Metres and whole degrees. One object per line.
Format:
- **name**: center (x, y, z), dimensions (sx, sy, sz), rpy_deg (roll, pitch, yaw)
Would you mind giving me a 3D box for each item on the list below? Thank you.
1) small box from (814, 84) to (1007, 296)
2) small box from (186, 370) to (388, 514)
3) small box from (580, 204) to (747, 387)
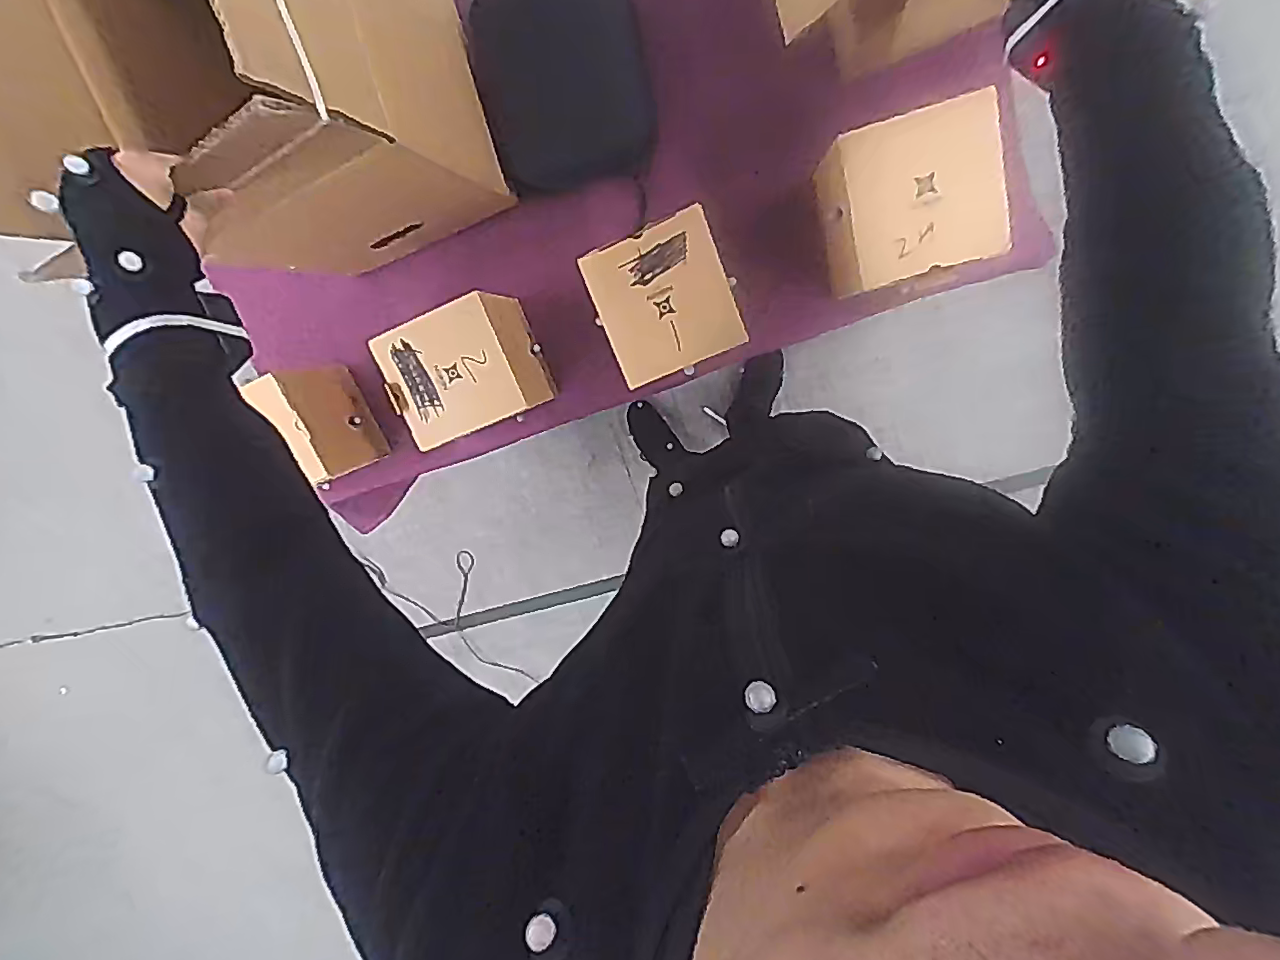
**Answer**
- **small box**: center (0.328, -0.346, 0.685), dimensions (0.168, 0.176, 0.179), rpy_deg (-12, 103, 11)
- **small box**: center (-0.553, -0.068, 0.872), dimensions (0.179, 0.176, 0.168), rpy_deg (-22, 101, 11)
- **small box**: center (0.037, -0.245, 0.750), dimensions (0.168, 0.176, 0.179), rpy_deg (-21, 102, 12)
